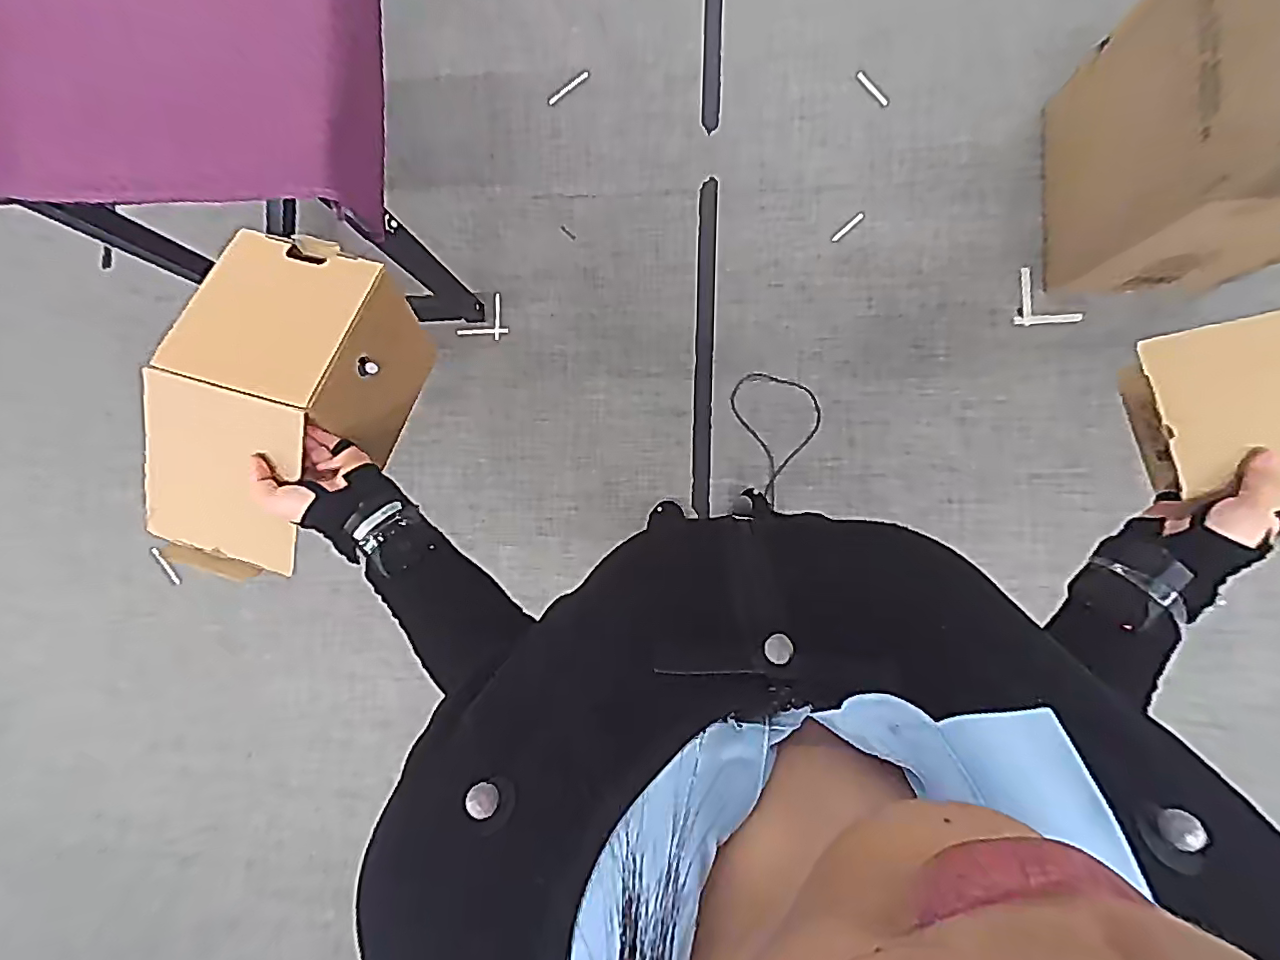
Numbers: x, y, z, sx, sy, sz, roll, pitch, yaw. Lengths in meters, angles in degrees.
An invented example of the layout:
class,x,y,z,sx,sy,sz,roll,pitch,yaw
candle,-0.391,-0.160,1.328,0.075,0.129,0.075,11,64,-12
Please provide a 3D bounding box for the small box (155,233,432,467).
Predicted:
class,x,y,z,sx,sy,sz,roll,pitch,yaw
small box,-0.361,-0.134,0.608,0.168,0.176,0.179,15,70,4
